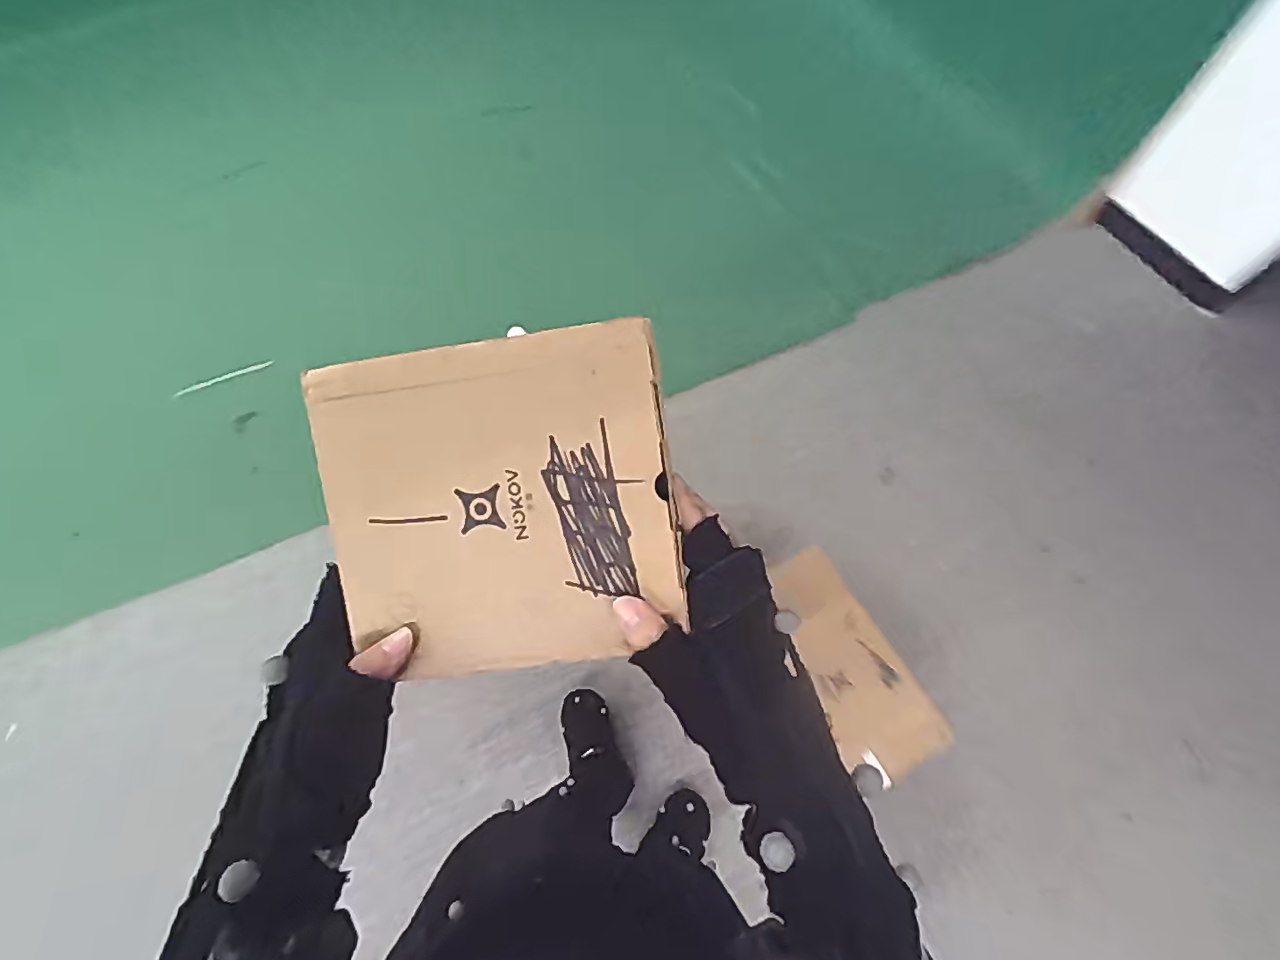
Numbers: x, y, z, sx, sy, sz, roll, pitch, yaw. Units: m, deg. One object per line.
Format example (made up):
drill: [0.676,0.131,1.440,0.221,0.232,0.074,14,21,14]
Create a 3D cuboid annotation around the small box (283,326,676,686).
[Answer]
small box: [-0.076,0.007,0.348,0.179,0.176,0.168,-8,95,4]
